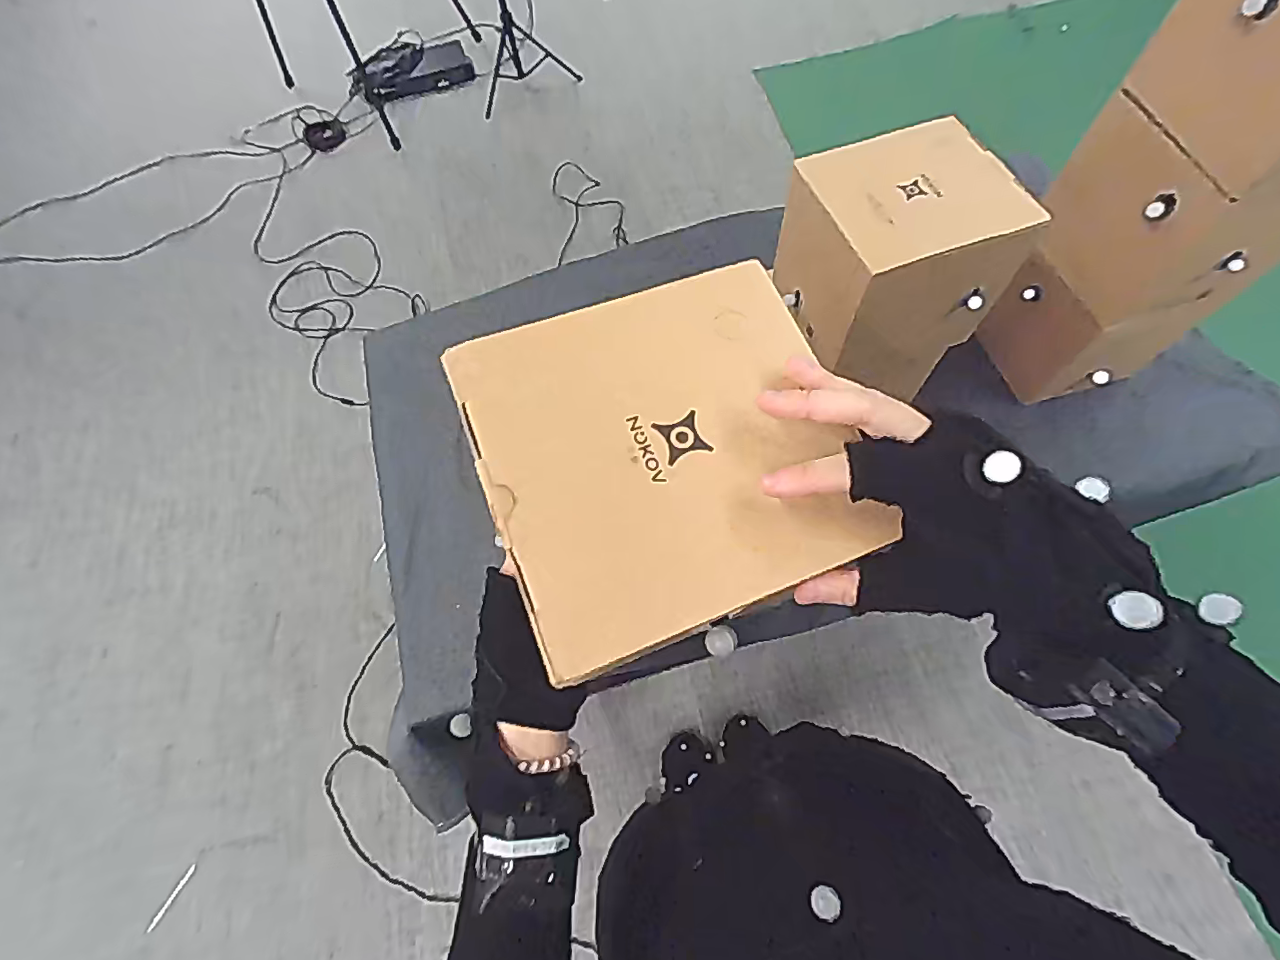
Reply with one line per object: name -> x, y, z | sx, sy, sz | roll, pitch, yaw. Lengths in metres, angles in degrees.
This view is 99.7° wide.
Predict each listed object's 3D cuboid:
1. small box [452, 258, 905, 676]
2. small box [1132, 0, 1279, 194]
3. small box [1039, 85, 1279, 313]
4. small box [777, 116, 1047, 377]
small box -> 0.011, 0.005, 0.333 | 0.179, 0.176, 0.168 | -20, 74, -9
small box -> 0.566, -0.368, 0.431 | 0.168, 0.176, 0.179 | -12, 65, 0
small box -> 0.580, -0.302, 0.581 | 0.168, 0.176, 0.179 | -13, 65, -1
small box -> 0.266, -0.240, 0.582 | 0.179, 0.176, 0.168 | -18, 65, -3
